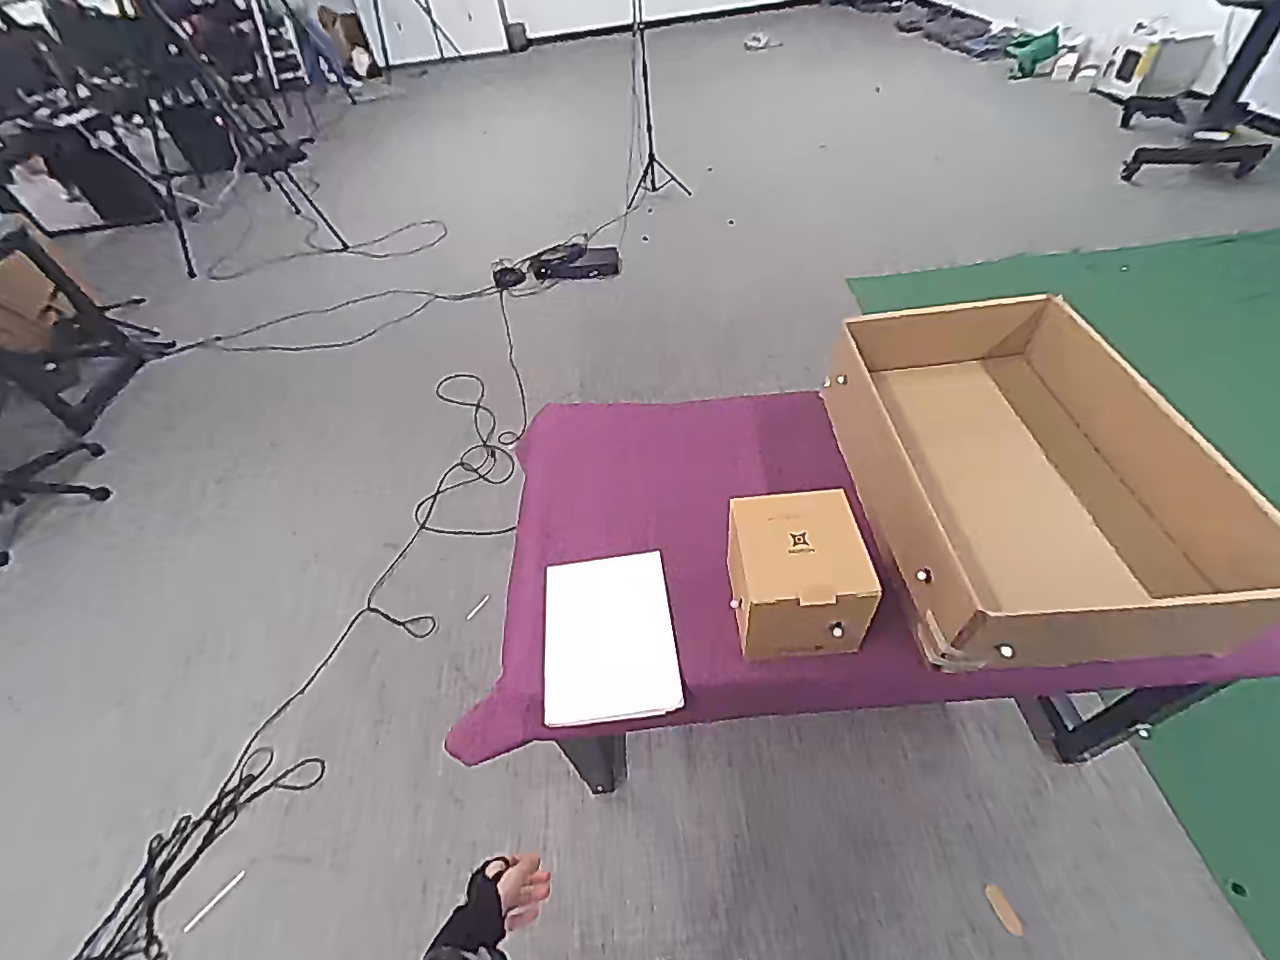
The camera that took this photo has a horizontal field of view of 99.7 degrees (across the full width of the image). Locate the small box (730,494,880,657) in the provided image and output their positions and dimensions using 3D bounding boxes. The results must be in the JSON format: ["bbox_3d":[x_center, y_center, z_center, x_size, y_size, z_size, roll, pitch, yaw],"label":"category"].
[{"bbox_3d":[0.223,0.144,0.783,0.168,0.176,0.179,-5,46,3],"label":"small box"}]
